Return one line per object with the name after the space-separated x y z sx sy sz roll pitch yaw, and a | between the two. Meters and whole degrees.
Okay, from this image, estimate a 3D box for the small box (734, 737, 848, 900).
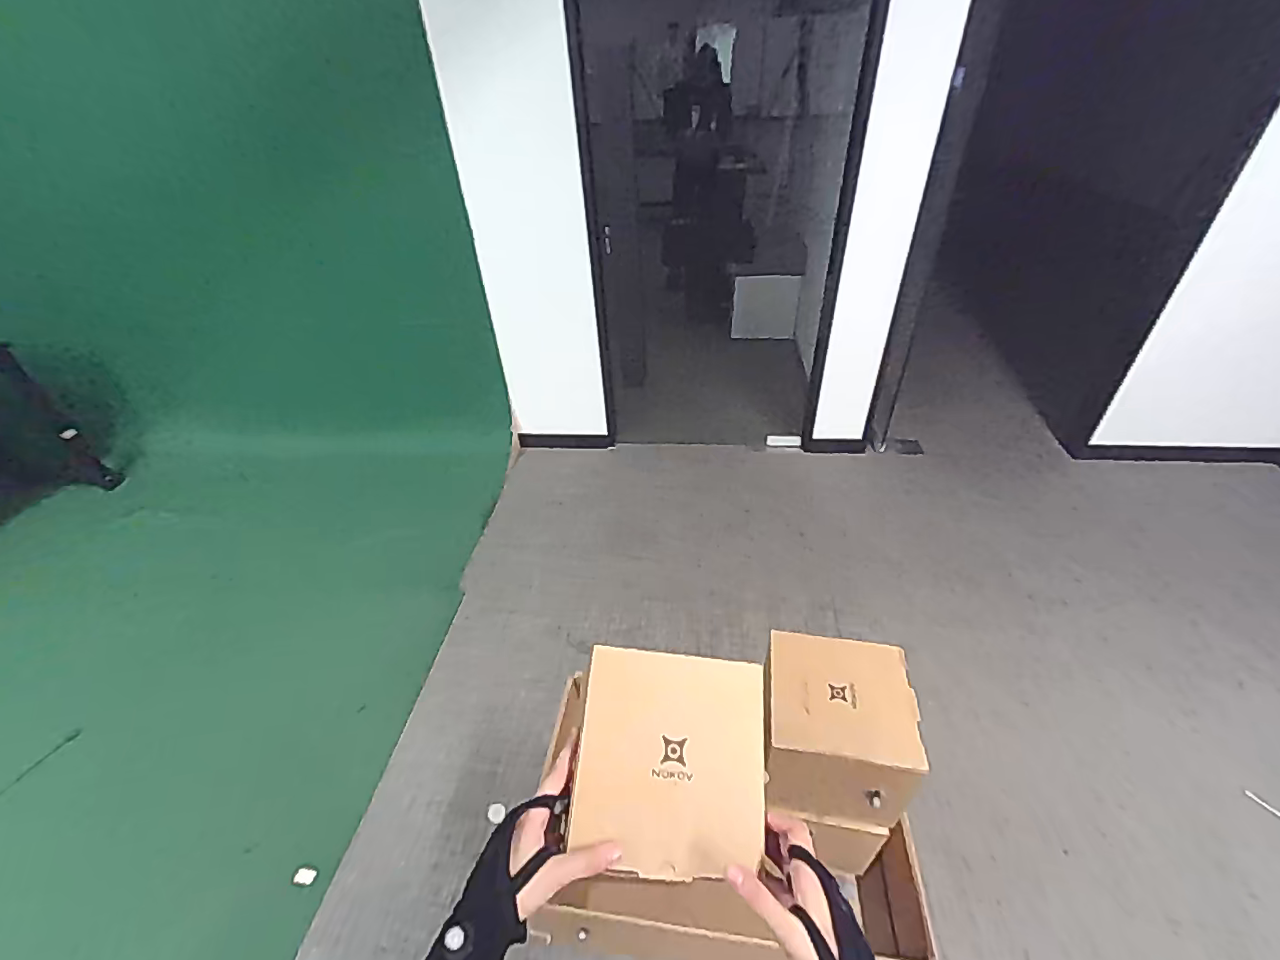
0.251 0.575 0.919 0.168 0.176 0.179 6 40 12 | small box

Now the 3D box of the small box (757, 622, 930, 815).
0.254 0.317 0.718 0.179 0.176 0.168 5 39 11 | small box

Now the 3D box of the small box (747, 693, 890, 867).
0.256 0.450 0.813 0.179 0.176 0.168 5 40 10 | small box
